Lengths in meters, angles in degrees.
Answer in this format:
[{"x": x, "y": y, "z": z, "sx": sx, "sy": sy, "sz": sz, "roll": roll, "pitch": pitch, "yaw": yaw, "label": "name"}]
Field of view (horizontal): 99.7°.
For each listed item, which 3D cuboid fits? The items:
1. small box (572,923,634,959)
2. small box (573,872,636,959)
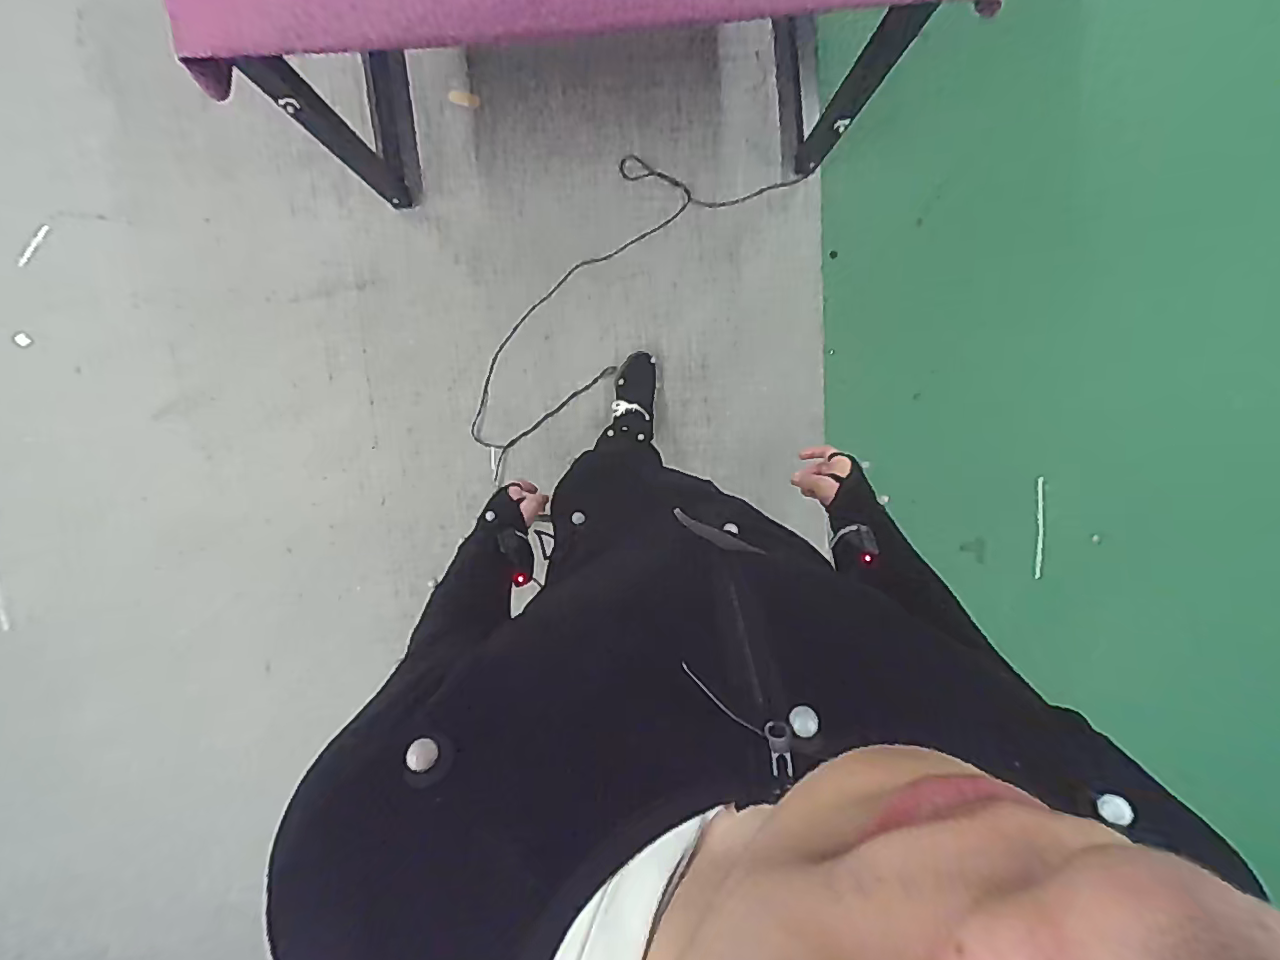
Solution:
[{"x": -0.101, "y": 1.390, "z": 1.516, "sx": 0.168, "sy": 0.176, "sz": 0.179, "roll": -7, "pitch": 98, "yaw": -1, "label": "small box"}, {"x": -0.104, "y": 1.371, "z": 1.678, "sx": 0.168, "sy": 0.176, "sz": 0.179, "roll": -10, "pitch": 97, "yaw": 0, "label": "small box"}]
